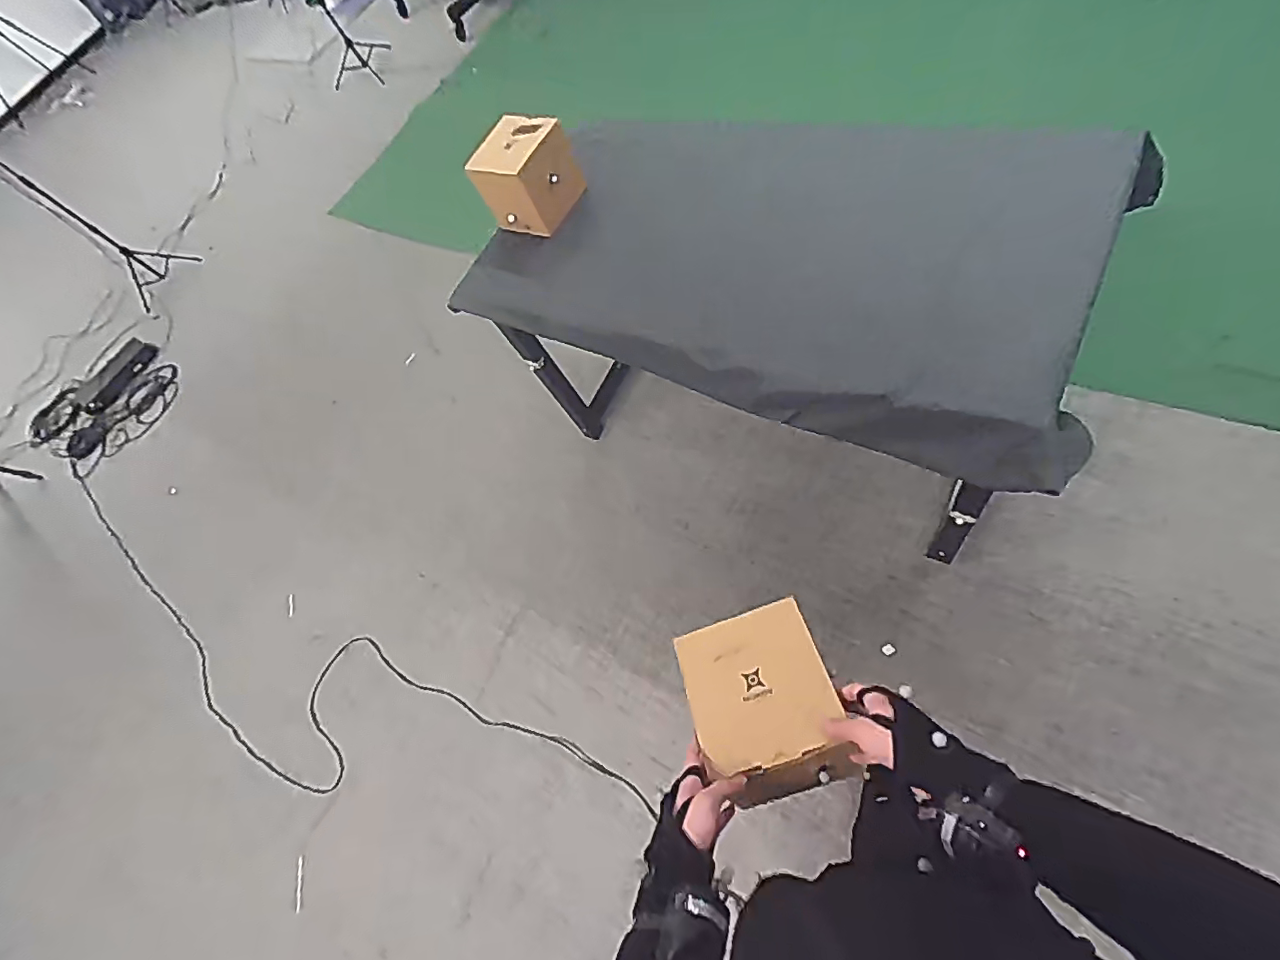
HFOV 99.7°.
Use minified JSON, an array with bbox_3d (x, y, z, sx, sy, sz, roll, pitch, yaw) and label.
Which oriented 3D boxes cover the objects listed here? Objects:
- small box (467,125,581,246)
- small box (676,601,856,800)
[{"bbox_3d":[-0.258,-0.683,1.257,0.168,0.176,0.179,22,75,27],"label":"small box"},{"bbox_3d":[0.164,0.291,0.698,0.168,0.176,0.179,-22,45,6],"label":"small box"}]
